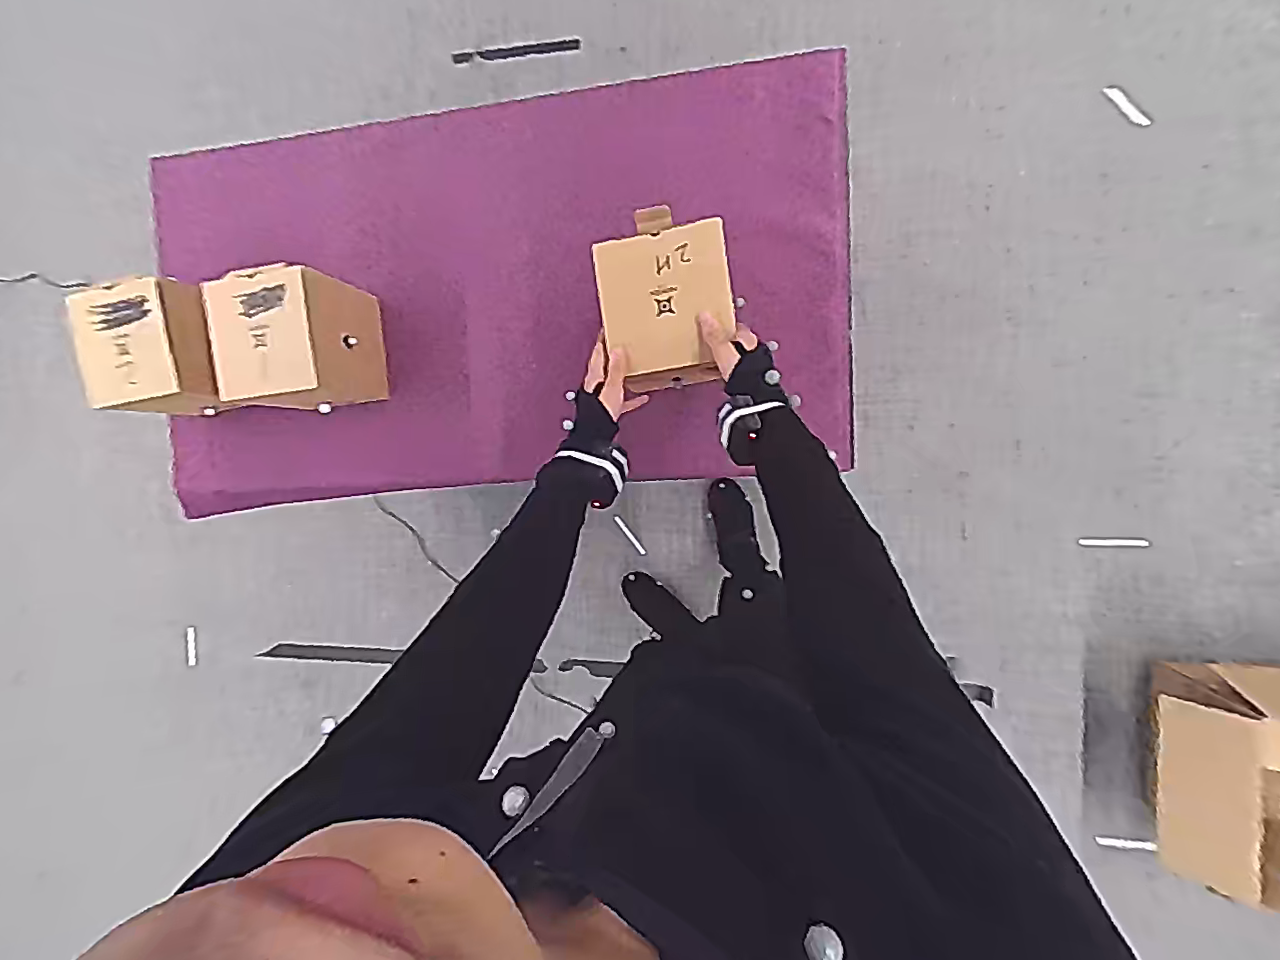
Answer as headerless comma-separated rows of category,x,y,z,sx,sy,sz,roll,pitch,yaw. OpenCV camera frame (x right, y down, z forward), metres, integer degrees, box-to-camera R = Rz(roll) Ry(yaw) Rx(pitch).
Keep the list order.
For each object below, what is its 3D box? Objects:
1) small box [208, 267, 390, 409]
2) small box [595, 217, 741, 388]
small box,-0.523,-0.211,0.851,0.168,0.176,0.179,-5,93,11
small box,0.048,-0.227,0.745,0.168,0.176,0.179,-8,92,11
